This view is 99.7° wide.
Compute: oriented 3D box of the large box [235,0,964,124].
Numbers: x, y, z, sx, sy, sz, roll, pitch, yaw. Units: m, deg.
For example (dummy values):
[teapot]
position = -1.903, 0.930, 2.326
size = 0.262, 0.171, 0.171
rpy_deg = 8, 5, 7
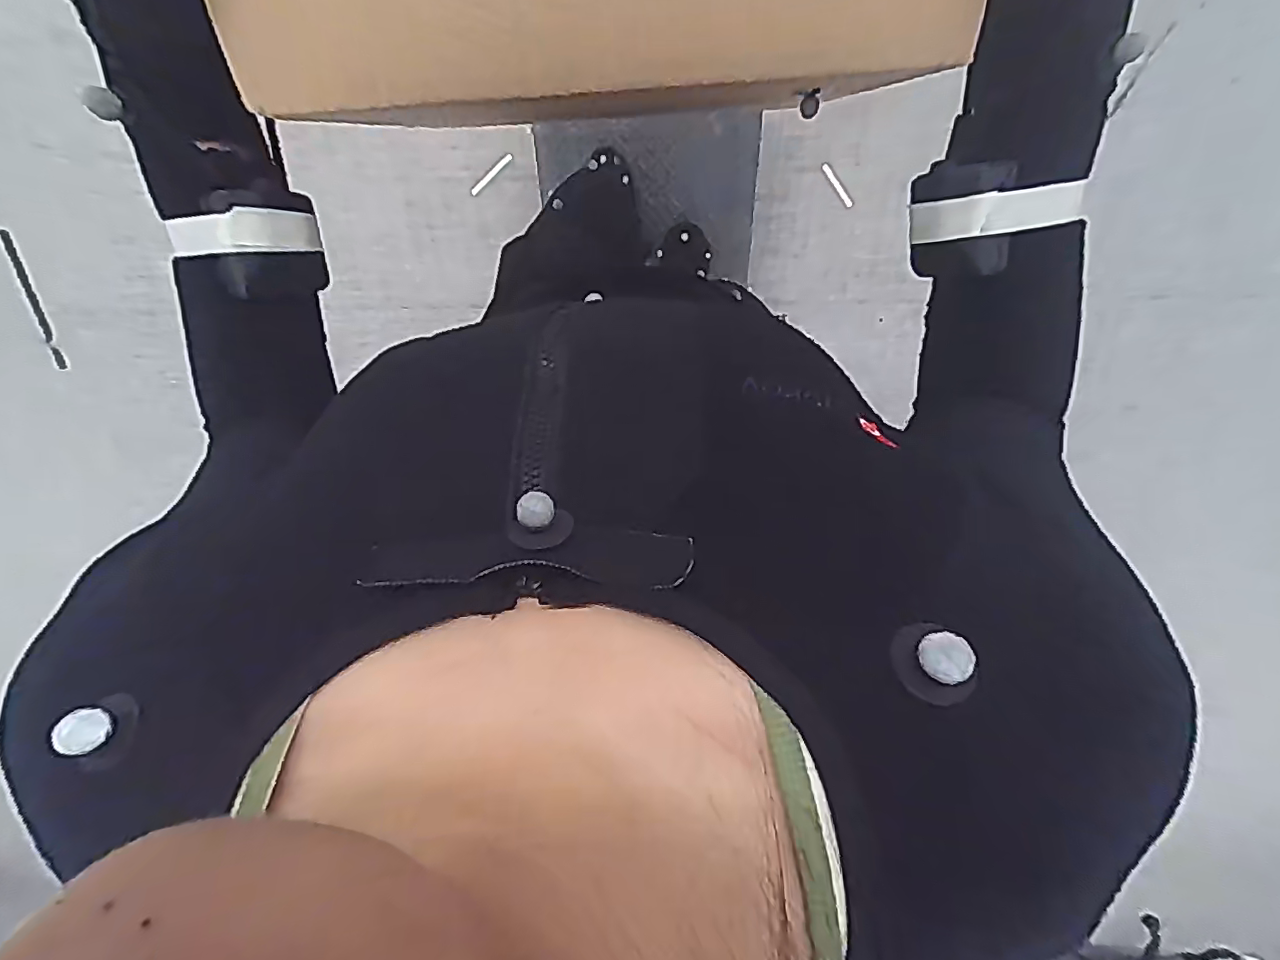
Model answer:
[large box]
position = -0.027, -0.437, 0.358
size = 0.408, 0.320, 0.320
rpy_deg = -2, 121, 3
